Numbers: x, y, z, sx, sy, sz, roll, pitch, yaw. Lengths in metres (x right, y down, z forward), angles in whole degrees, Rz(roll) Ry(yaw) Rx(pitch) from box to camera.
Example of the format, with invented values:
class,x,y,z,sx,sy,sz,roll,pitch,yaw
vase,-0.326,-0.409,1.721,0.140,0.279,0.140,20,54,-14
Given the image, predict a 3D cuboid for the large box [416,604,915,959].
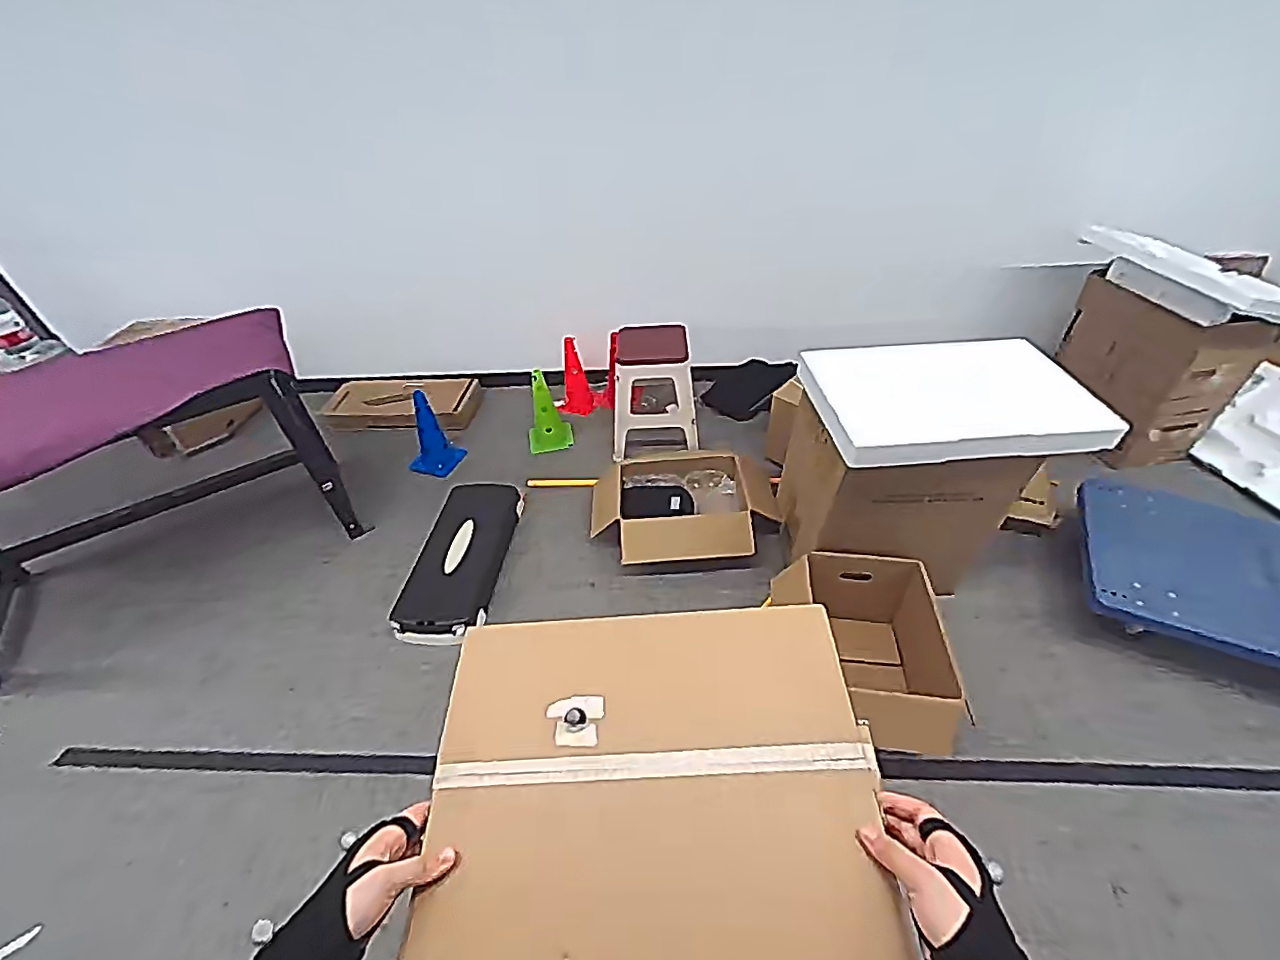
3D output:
class,x,y,z,sx,sy,sz,roll,pitch,yaw
large box,0.030,0.372,0.628,0.408,0.320,0.320,-6,47,5
